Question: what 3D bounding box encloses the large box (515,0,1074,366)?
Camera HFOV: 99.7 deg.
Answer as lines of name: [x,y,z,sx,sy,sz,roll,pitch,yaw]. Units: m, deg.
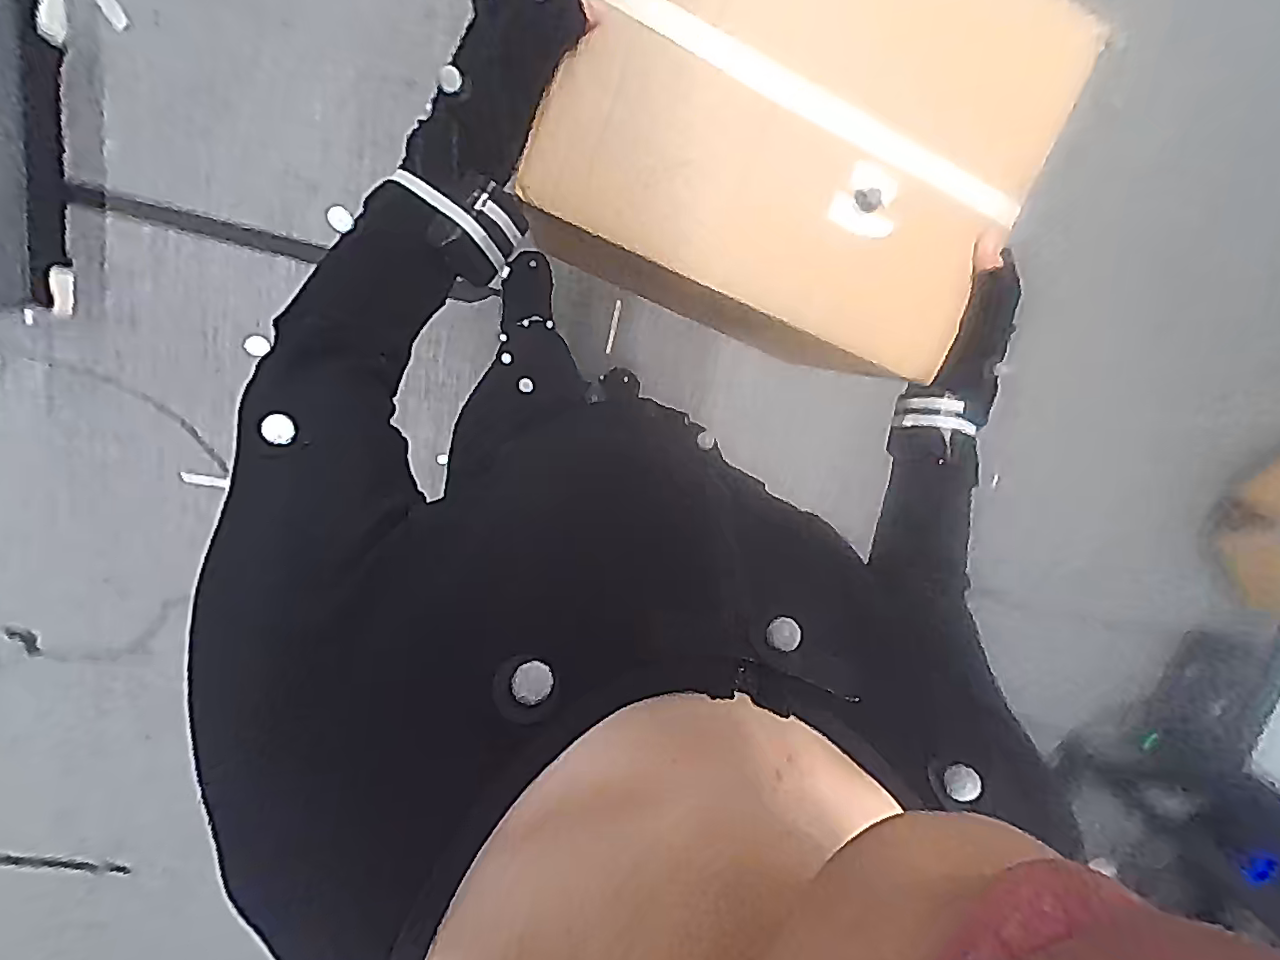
large box: [0.110,-0.343,0.583,0.408,0.320,0.320,19,102,-13]
